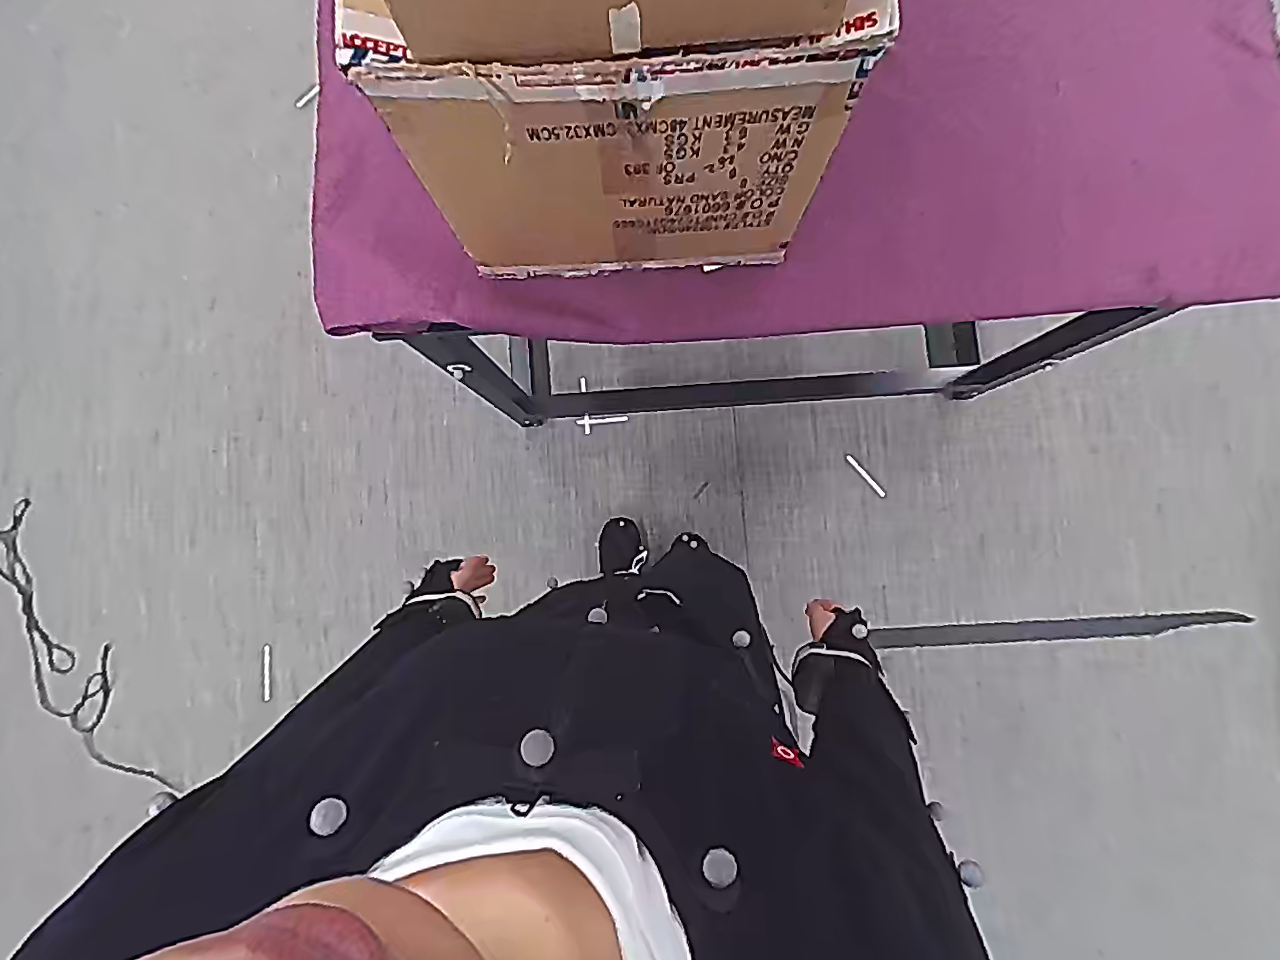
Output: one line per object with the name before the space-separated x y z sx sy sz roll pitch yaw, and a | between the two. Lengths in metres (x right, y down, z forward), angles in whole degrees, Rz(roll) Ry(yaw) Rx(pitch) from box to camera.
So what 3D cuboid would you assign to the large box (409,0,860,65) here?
large box | -0.017 -0.520 0.257 0.320 0.320 0.408 -5 85 2
